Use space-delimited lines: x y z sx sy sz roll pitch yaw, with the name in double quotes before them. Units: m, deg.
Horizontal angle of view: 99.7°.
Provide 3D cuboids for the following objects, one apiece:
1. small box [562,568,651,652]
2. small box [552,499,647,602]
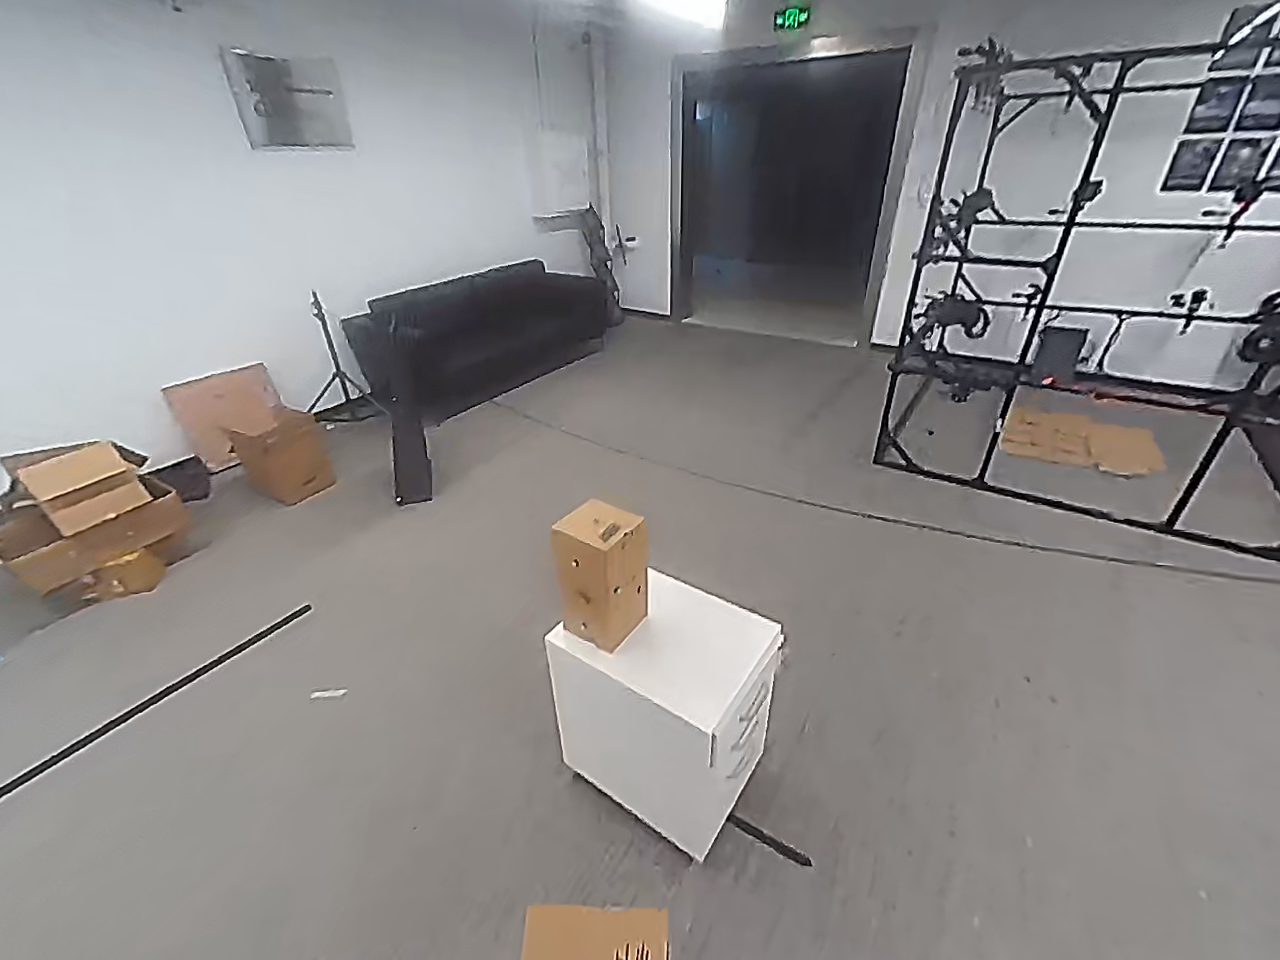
"small box" -0.086 0.317 1.437 0.168 0.176 0.179 18 36 30
"small box" -0.095 0.177 1.350 0.179 0.176 0.168 18 35 31
